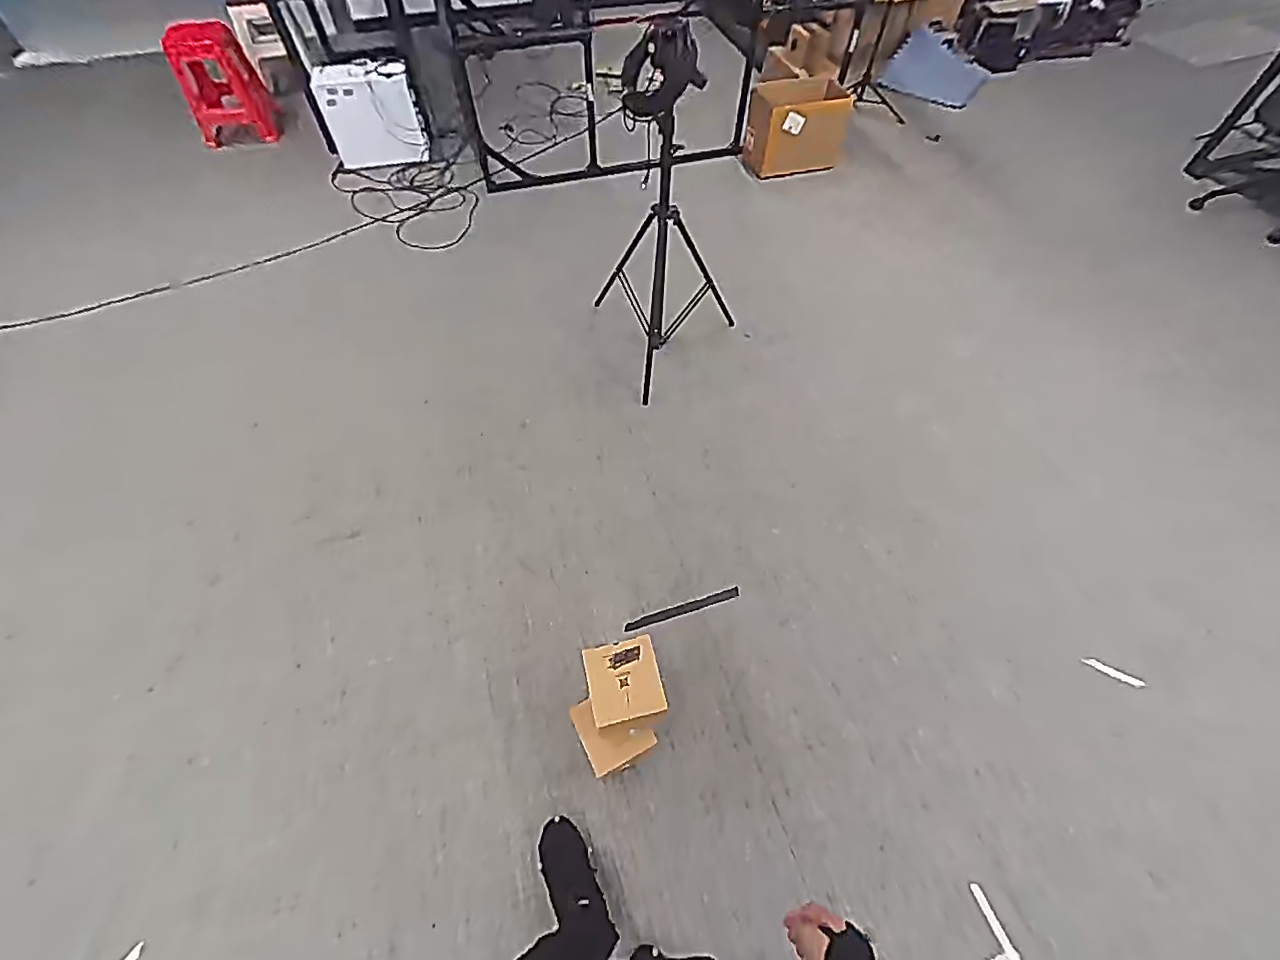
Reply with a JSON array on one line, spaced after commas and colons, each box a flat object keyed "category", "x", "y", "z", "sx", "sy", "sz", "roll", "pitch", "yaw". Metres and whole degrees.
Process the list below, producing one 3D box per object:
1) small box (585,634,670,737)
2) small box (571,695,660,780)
[{"category": "small box", "x": -0.031, "y": 0.490, "z": 1.283, "sx": 0.168, "sy": 0.176, "sz": 0.179, "roll": -12, "pitch": 58, "yaw": -7}, {"category": "small box", "x": -0.064, "y": 0.639, "z": 1.381, "sx": 0.168, "sy": 0.176, "sz": 0.179, "roll": -24, "pitch": 61, "yaw": -15}]
